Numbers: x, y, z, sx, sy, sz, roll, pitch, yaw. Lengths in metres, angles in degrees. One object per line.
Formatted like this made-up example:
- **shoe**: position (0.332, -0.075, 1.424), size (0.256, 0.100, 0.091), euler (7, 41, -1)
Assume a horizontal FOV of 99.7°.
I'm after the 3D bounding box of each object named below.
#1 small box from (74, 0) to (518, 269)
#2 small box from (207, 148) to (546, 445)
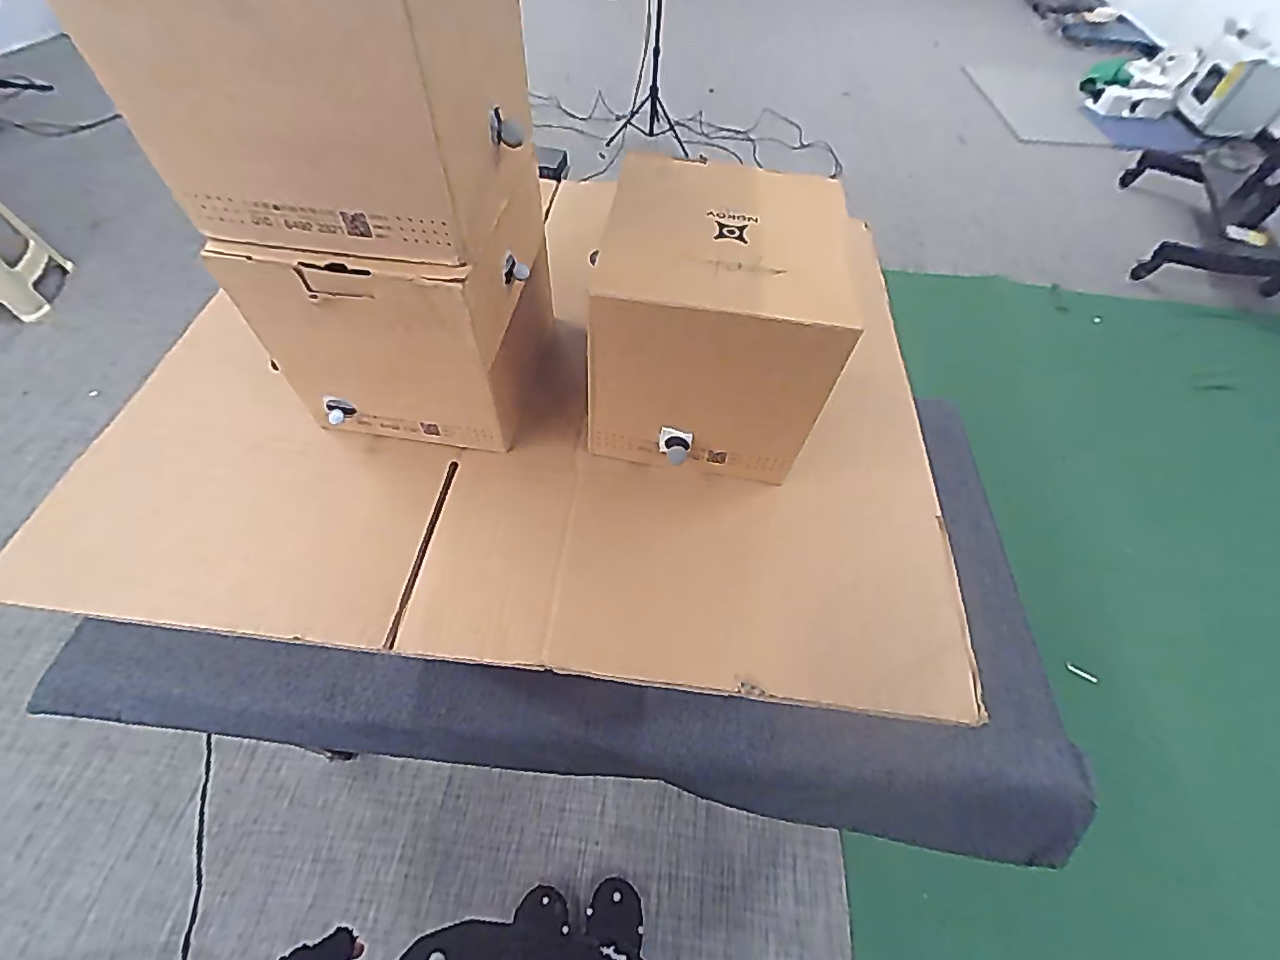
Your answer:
- **small box**: position (-0.174, -0.251, 0.312), size (0.168, 0.176, 0.179), euler (7, 55, 1)
- **small box**: position (-0.179, -0.149, 0.440), size (0.168, 0.176, 0.179), euler (8, 55, 2)
